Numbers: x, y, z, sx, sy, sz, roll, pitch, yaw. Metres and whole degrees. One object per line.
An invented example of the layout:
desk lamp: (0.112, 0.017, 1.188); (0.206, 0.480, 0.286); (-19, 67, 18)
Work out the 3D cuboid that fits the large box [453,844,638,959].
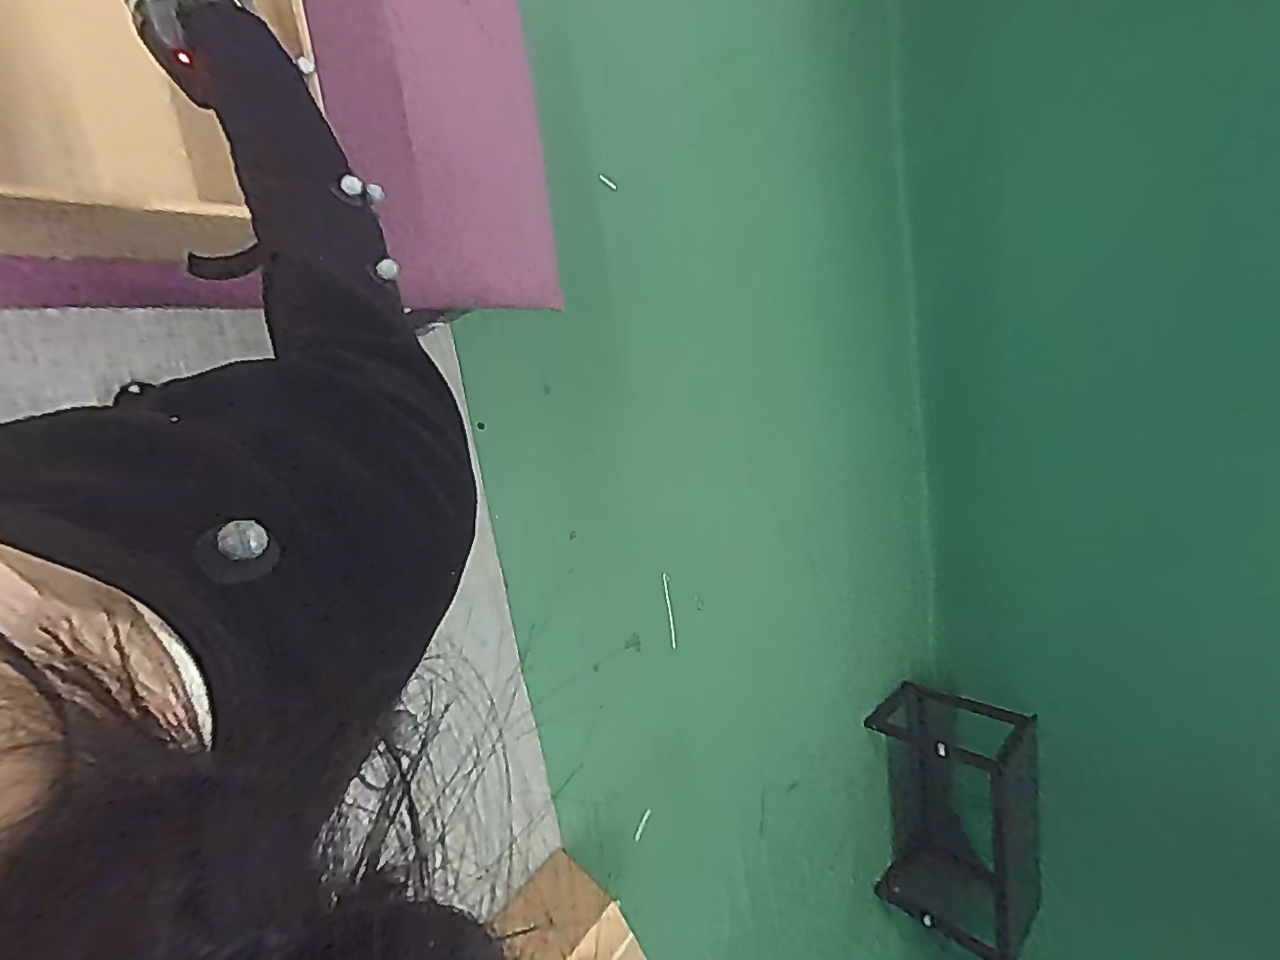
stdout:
large box: (-0.284, 1.461, 1.663); (0.408, 0.320, 0.320); (-35, 115, -37)
